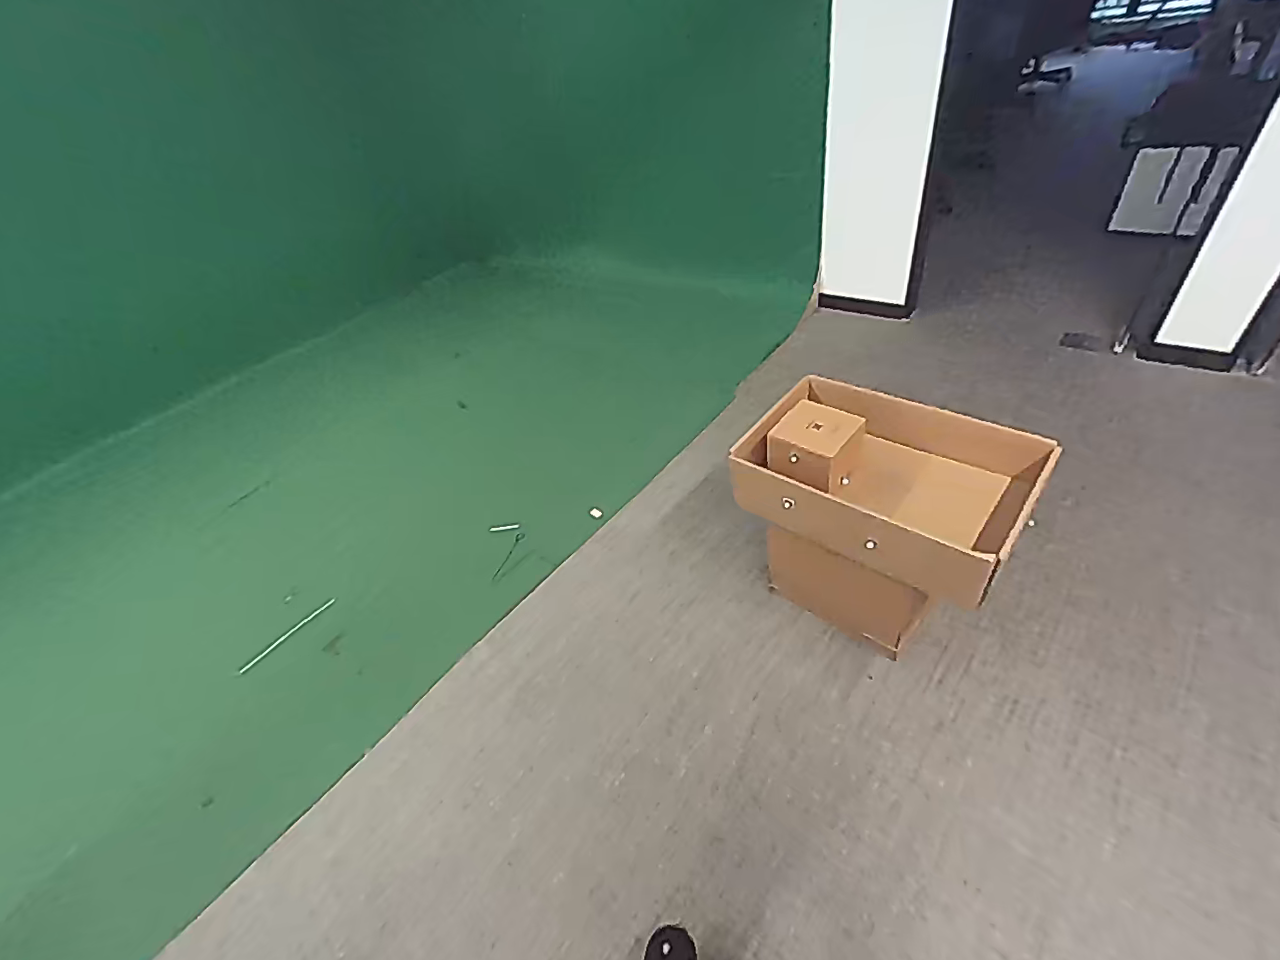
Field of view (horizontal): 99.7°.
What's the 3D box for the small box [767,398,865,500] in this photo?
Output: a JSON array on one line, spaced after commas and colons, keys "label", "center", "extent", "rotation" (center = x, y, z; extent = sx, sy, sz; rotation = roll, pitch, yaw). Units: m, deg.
[{"label": "small box", "center": [0.442, -0.076, 1.366], "extent": [0.179, 0.176, 0.168], "rotation": [26, 57, 37]}]
